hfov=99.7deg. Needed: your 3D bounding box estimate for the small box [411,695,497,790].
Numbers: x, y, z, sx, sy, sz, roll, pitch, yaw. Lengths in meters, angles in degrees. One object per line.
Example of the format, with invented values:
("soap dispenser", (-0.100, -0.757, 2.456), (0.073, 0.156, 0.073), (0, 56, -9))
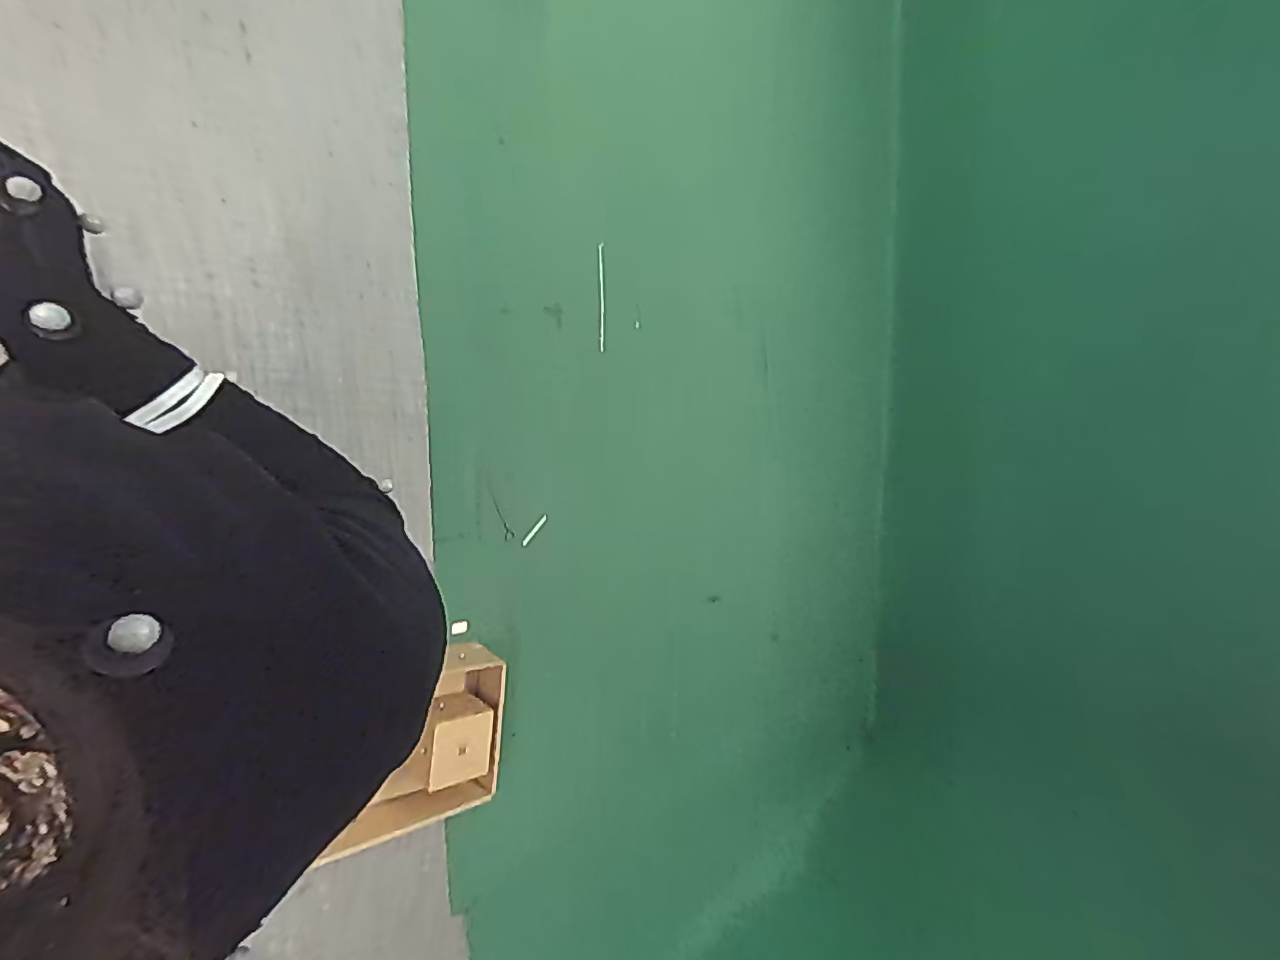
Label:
("small box", (-0.517, 0.710, 1.492), (0.168, 0.176, 0.179), (7, 89, -43))
